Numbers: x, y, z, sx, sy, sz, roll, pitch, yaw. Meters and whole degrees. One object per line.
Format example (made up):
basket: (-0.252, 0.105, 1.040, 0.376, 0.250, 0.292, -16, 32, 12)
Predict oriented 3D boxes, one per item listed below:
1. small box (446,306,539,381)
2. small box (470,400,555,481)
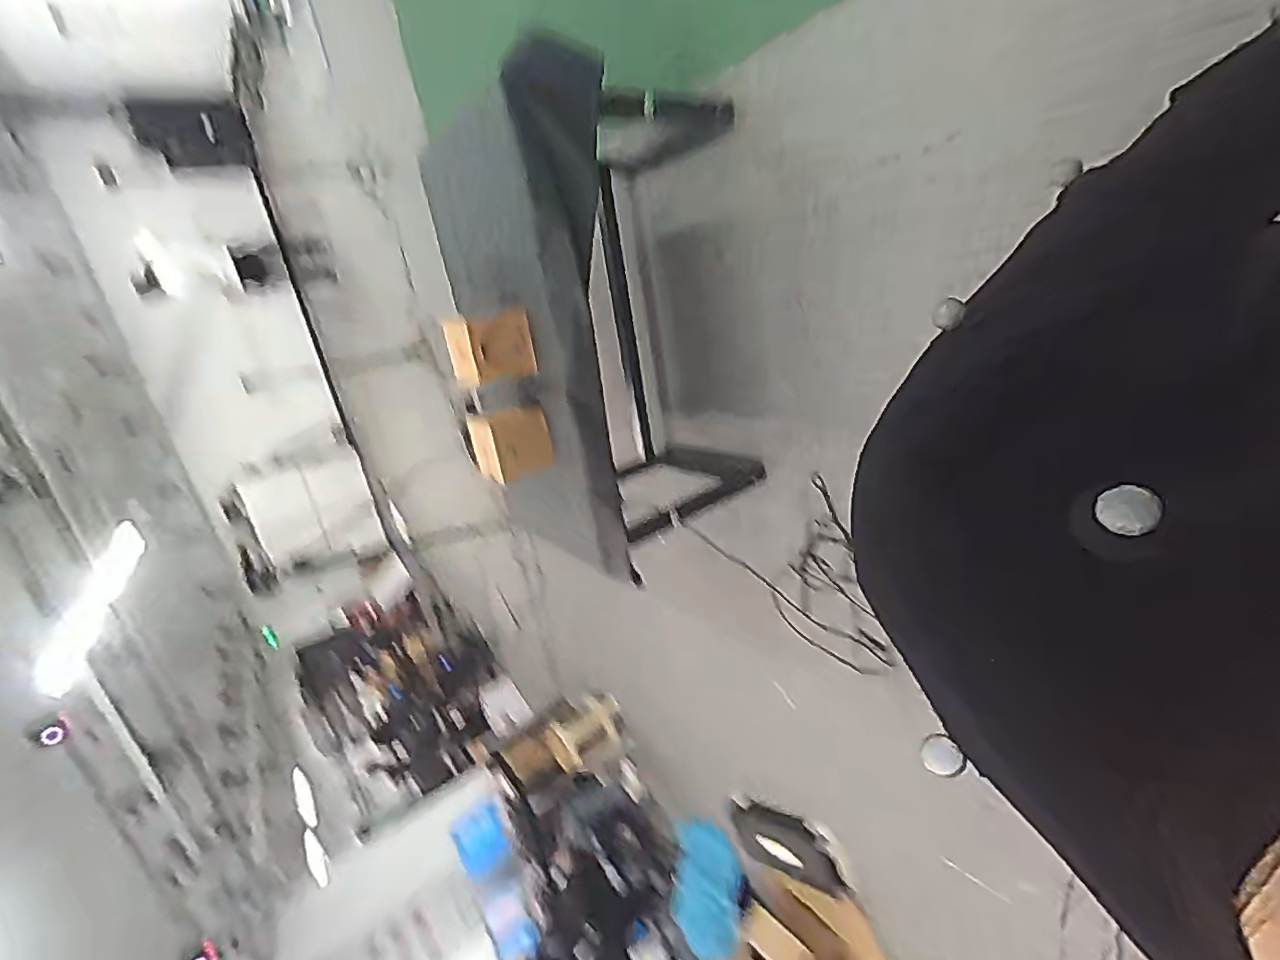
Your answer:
small box: (-0.390, -0.366, 1.439, 0.179, 0.176, 0.168, 19, 123, 50)
small box: (-0.358, -0.117, 1.537, 0.168, 0.176, 0.179, 19, 122, 49)
